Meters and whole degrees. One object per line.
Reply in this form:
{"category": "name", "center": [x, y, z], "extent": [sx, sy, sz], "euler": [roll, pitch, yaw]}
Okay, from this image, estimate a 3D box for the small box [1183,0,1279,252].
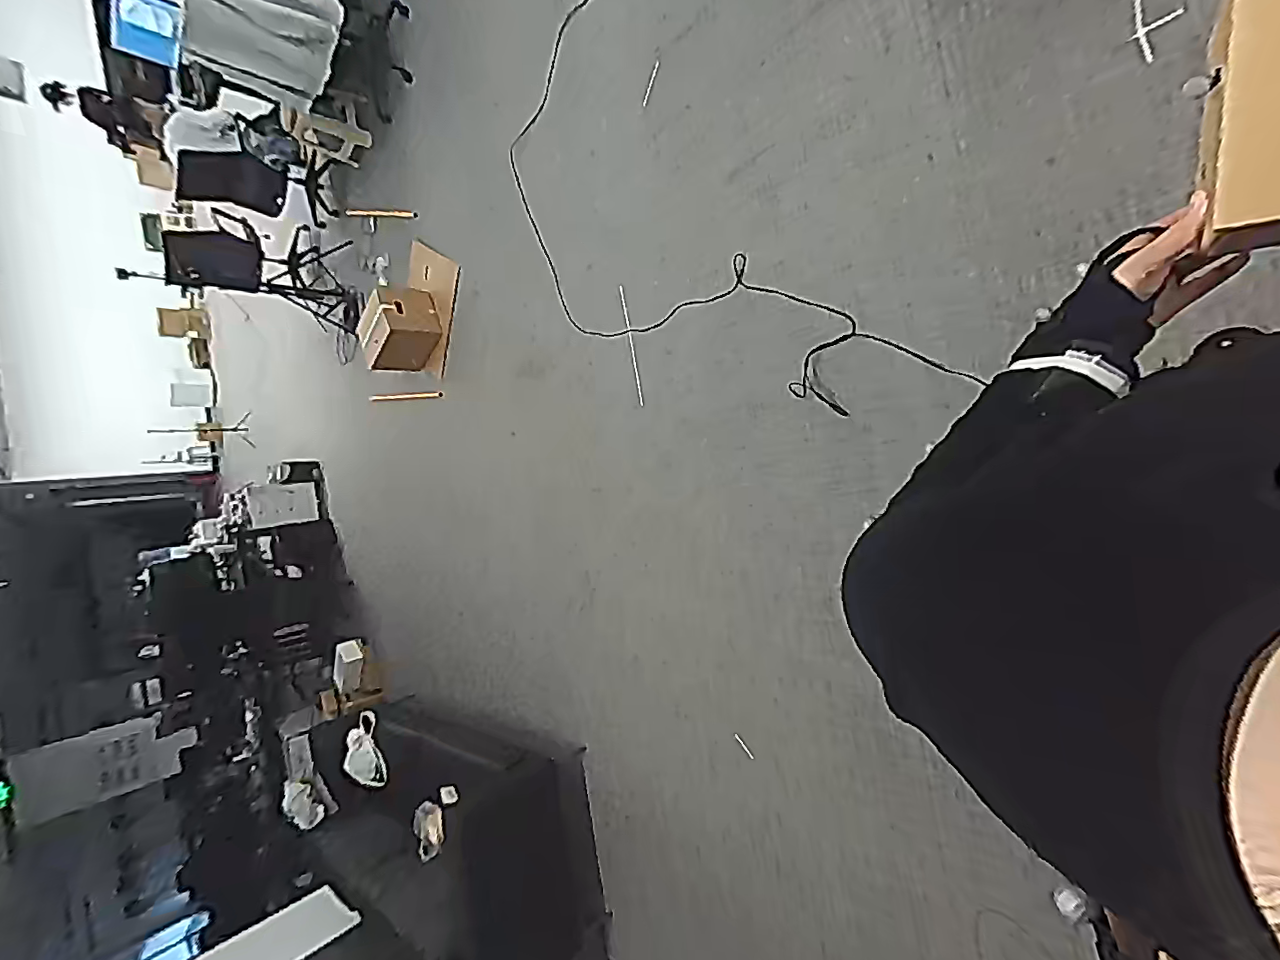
{"category": "small box", "center": [0.457, -0.245, 0.322], "extent": [0.179, 0.176, 0.168], "euler": [4, 104, 40]}
